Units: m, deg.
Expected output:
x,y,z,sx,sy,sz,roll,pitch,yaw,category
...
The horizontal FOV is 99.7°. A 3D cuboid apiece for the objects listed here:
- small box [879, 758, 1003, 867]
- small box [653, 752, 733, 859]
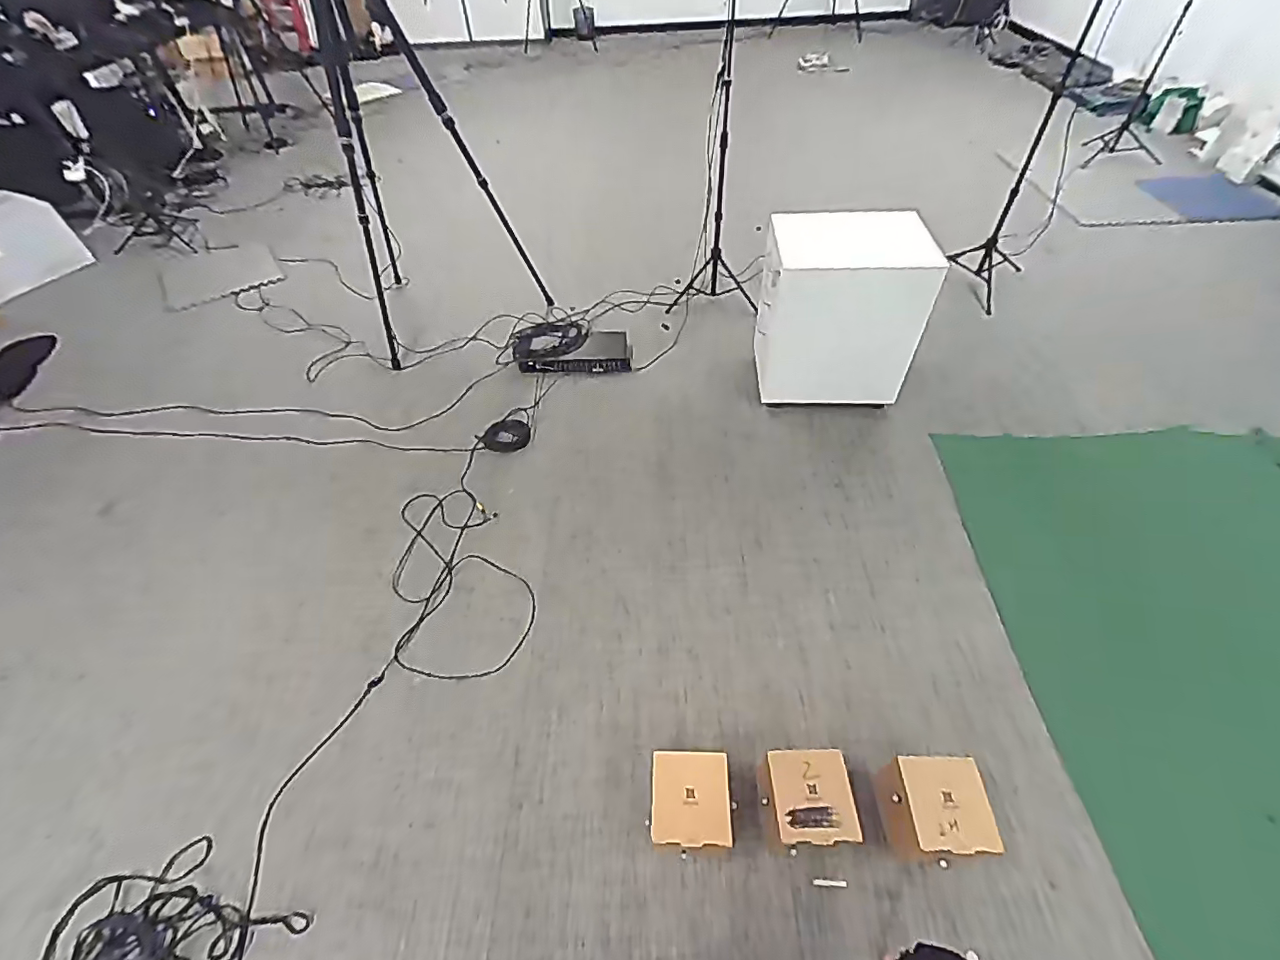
x,y,z,sx,sy,sz,roll,pitch,yaw,category
0.645,0.731,1.187,0.168,0.176,0.179,0,49,4,small box
0.116,0.732,1.216,0.168,0.176,0.179,0,49,4,small box
